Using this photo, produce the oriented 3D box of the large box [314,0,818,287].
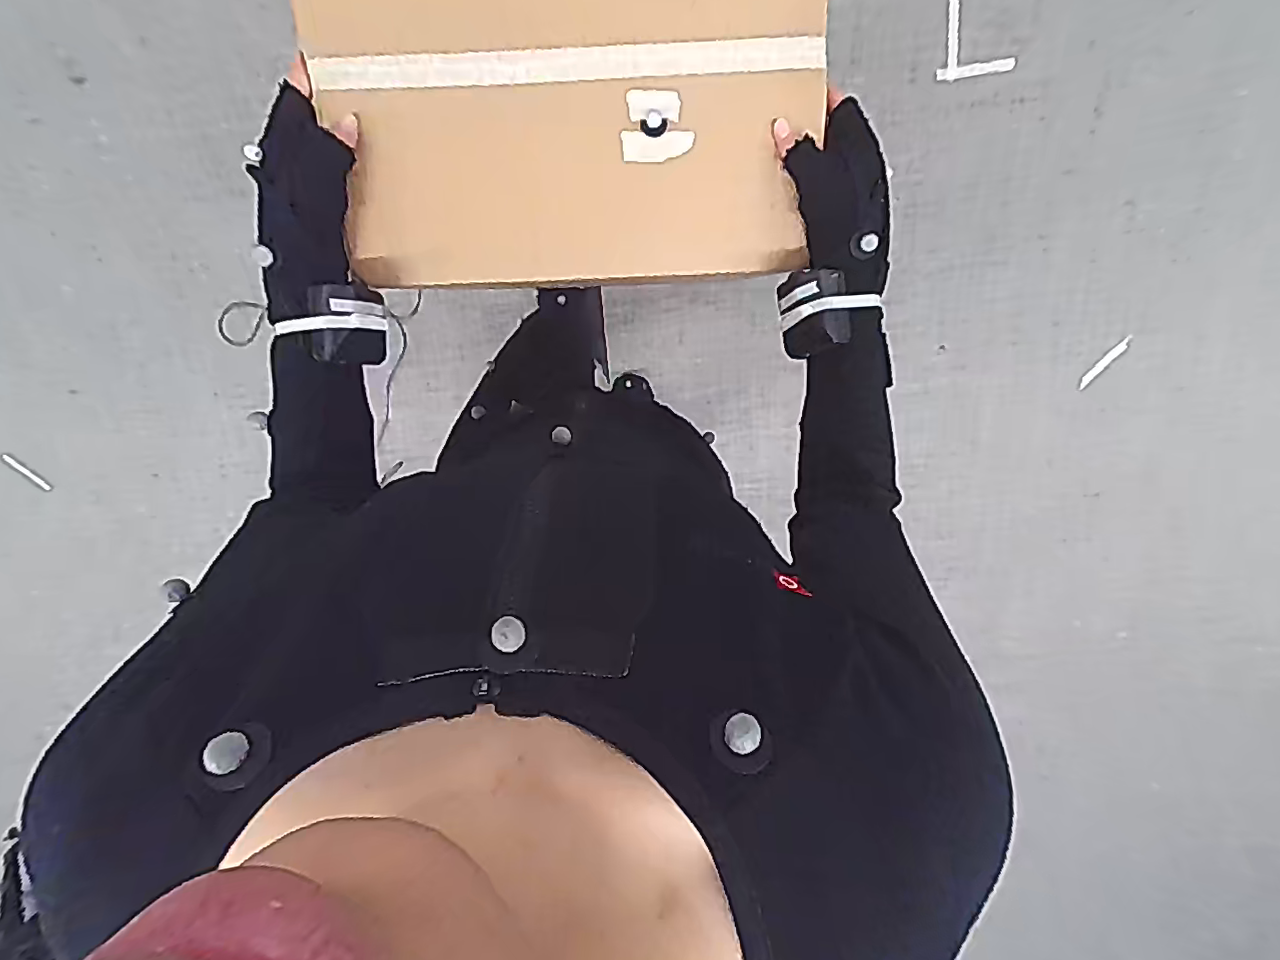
[{"bbox_3d":[-0.060,-0.384,0.578,0.408,0.320,0.320,-2,109,0],"label":"large box"}]
